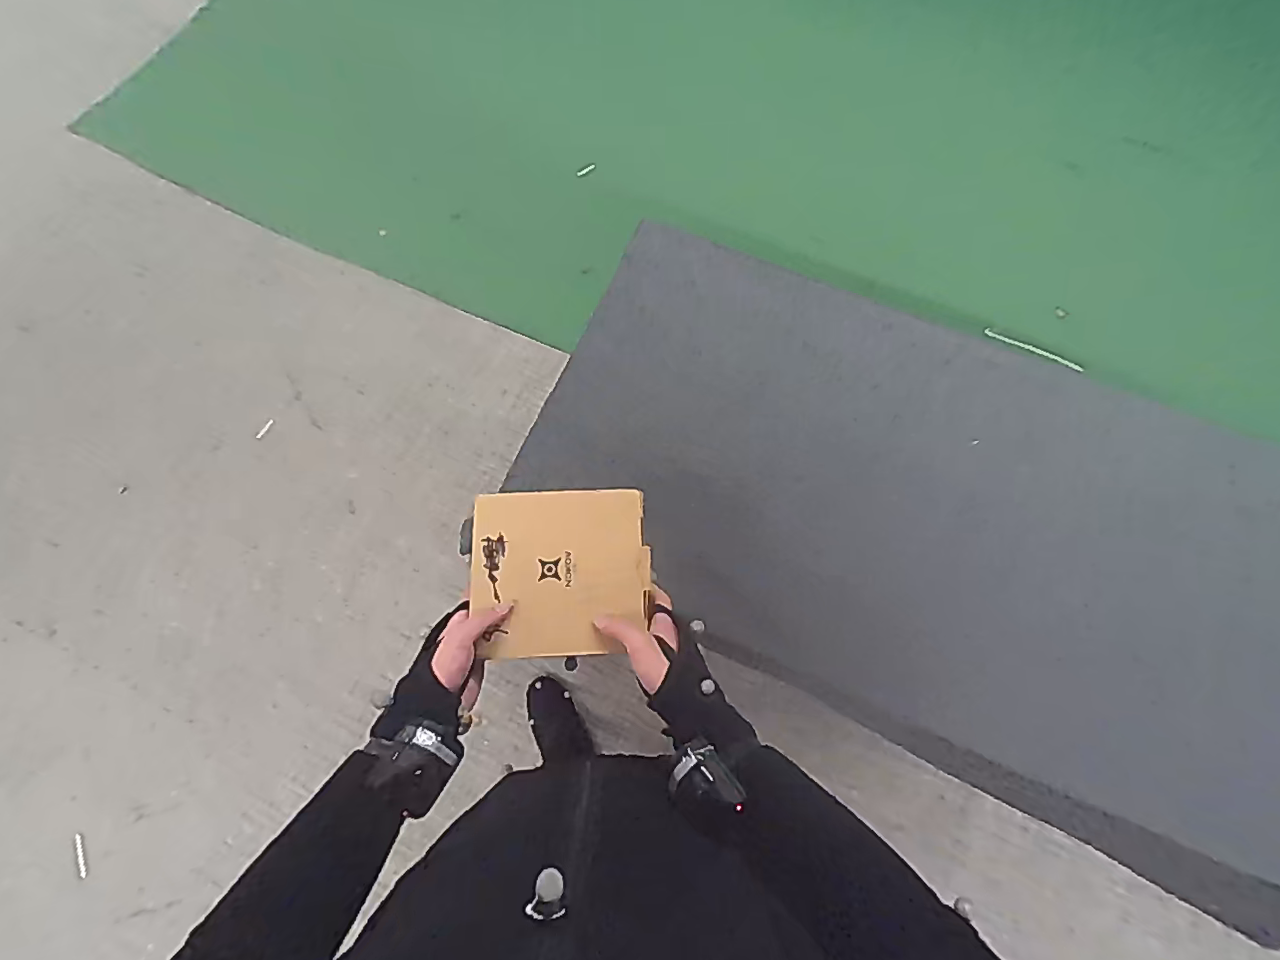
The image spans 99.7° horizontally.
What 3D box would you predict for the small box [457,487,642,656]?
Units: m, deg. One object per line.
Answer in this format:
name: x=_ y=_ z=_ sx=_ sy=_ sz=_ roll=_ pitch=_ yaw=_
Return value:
small box: x=-0.091 y=0.110 z=0.610 sx=0.179 sy=0.176 sz=0.168 roll=-1 pitch=71 yaw=-3
